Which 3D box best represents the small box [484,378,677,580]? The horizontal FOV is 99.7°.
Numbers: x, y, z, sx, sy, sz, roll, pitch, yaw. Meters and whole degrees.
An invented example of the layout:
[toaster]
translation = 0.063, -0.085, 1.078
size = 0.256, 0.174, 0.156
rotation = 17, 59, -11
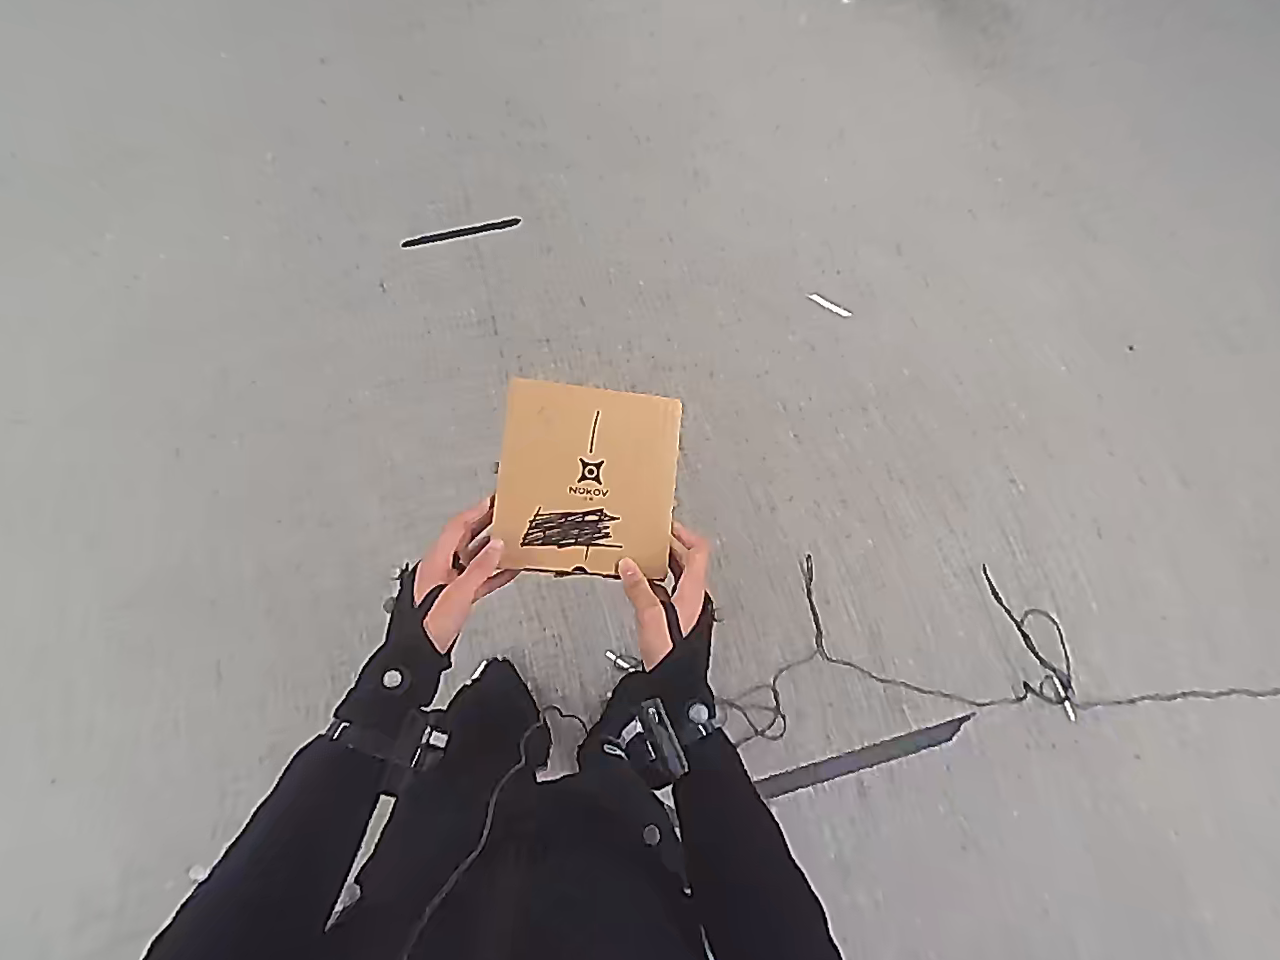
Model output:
[small box]
translation = -0.064, 0.006, 0.581
size = 0.168, 0.176, 0.179
rotation = 6, 84, -9
